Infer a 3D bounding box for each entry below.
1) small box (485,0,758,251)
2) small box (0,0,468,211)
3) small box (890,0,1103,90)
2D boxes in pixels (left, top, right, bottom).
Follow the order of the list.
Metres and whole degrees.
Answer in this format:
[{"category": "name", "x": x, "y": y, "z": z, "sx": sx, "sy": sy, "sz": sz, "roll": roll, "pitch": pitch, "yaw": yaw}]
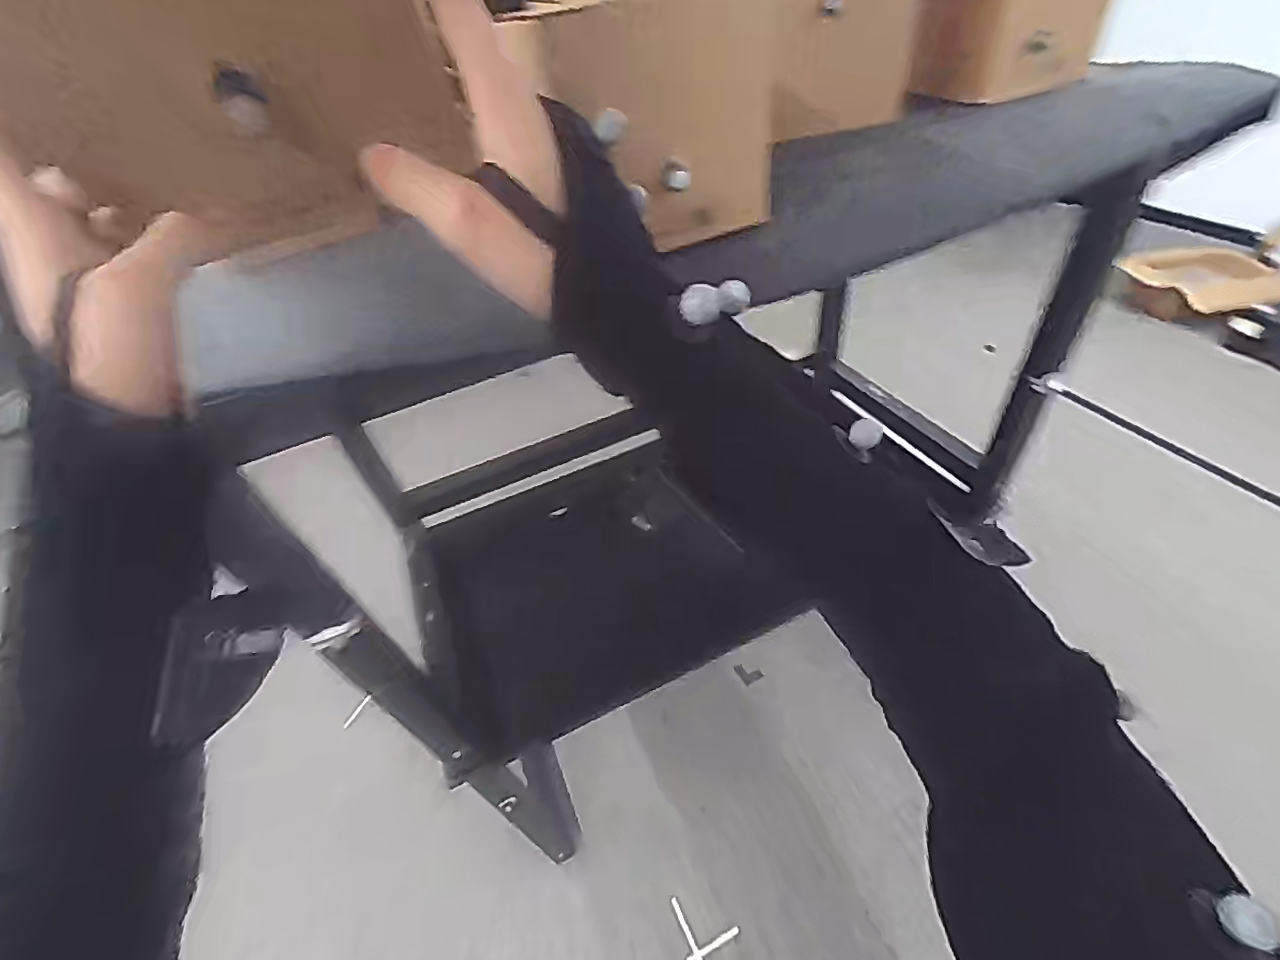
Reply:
[{"category": "small box", "x": -0.015, "y": -0.316, "z": 0.460, "sx": 0.168, "sy": 0.176, "sz": 0.179, "roll": -22, "pitch": 44, "yaw": -10}, {"category": "small box", "x": -0.190, "y": -0.239, "z": 0.212, "sx": 0.168, "sy": 0.176, "sz": 0.179, "roll": -21, "pitch": 83, "yaw": -3}, {"category": "small box", "x": 0.445, "y": -0.608, "z": 0.676, "sx": 0.168, "sy": 0.176, "sz": 0.179, "roll": -19, "pitch": 45, "yaw": -8}]
